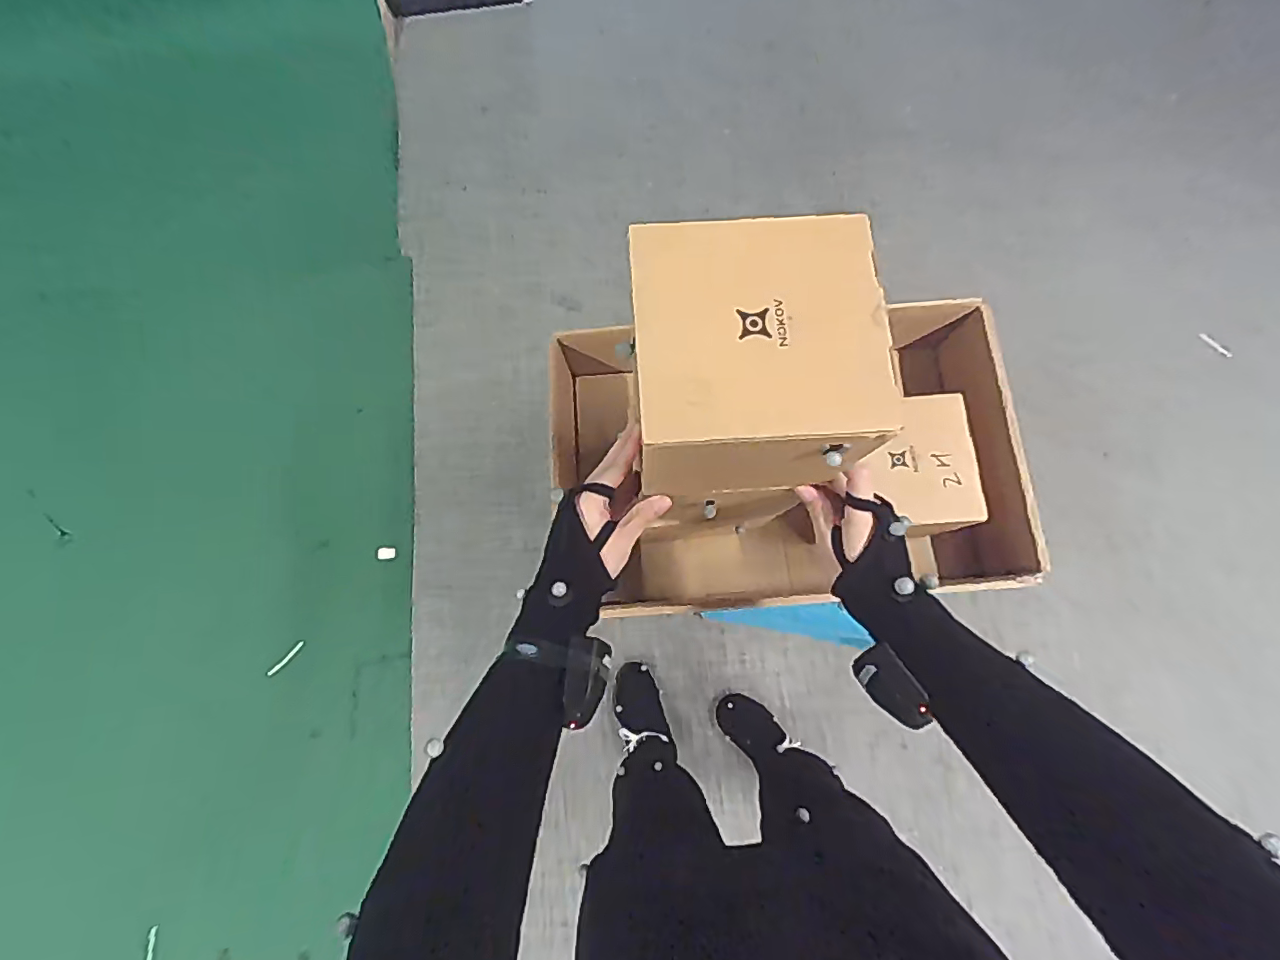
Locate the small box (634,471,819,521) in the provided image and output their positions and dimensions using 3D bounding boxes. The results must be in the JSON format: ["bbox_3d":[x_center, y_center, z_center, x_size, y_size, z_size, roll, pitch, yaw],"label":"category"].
[{"bbox_3d":[0.082,-0.049,0.605,0.179,0.176,0.168,-3,77,0],"label":"small box"}]

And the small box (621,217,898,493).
[{"bbox_3d":[0.078,-0.087,0.447,0.179,0.176,0.168,-3,77,-2],"label":"small box"}]
